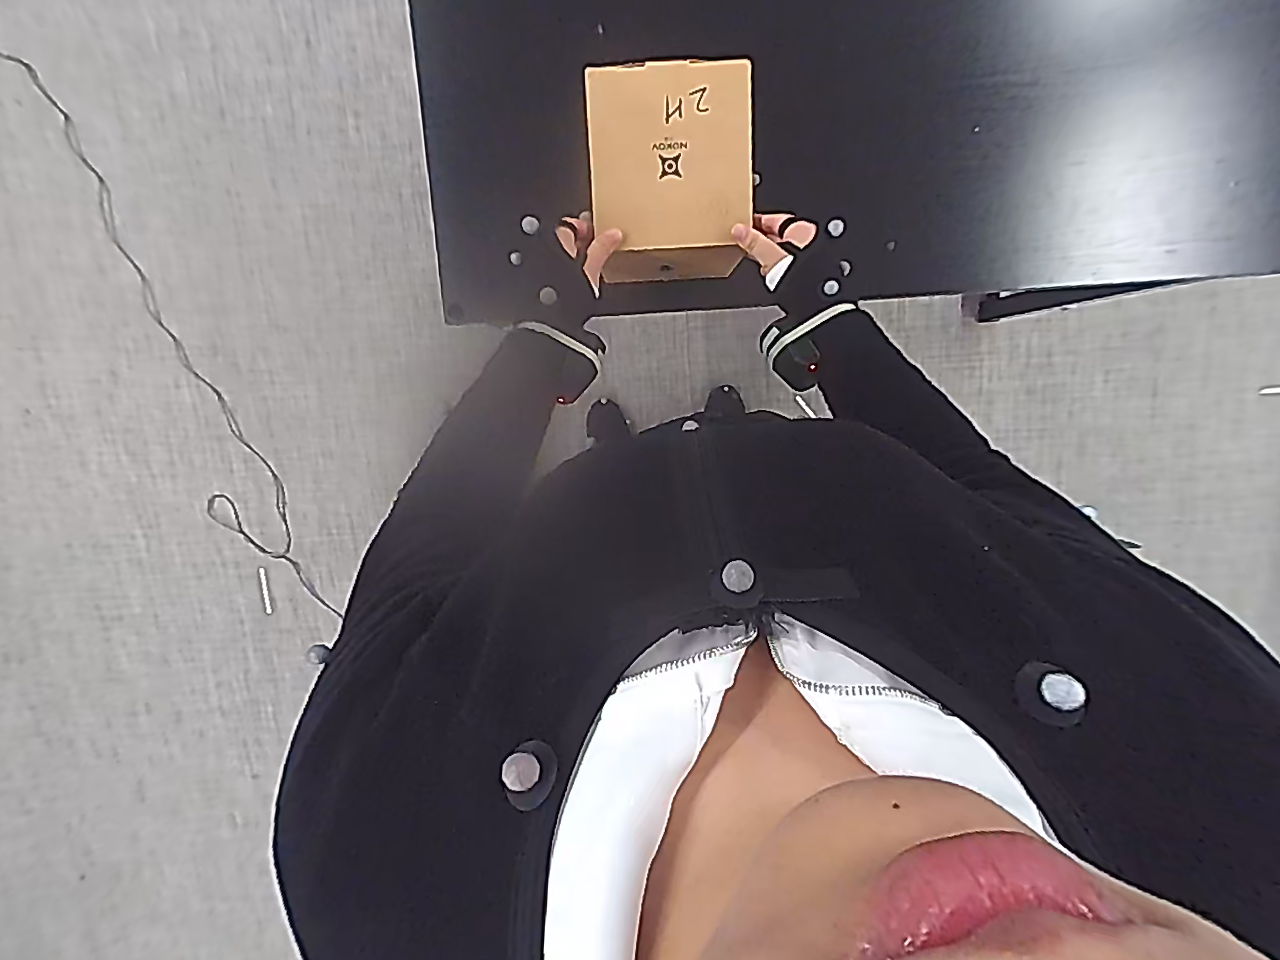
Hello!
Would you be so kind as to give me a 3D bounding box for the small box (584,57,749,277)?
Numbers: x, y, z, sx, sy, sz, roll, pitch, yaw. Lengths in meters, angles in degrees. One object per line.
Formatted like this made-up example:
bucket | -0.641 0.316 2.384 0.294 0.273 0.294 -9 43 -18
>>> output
small box | 0.030 -0.340 0.625 0.168 0.176 0.179 -3 99 1
